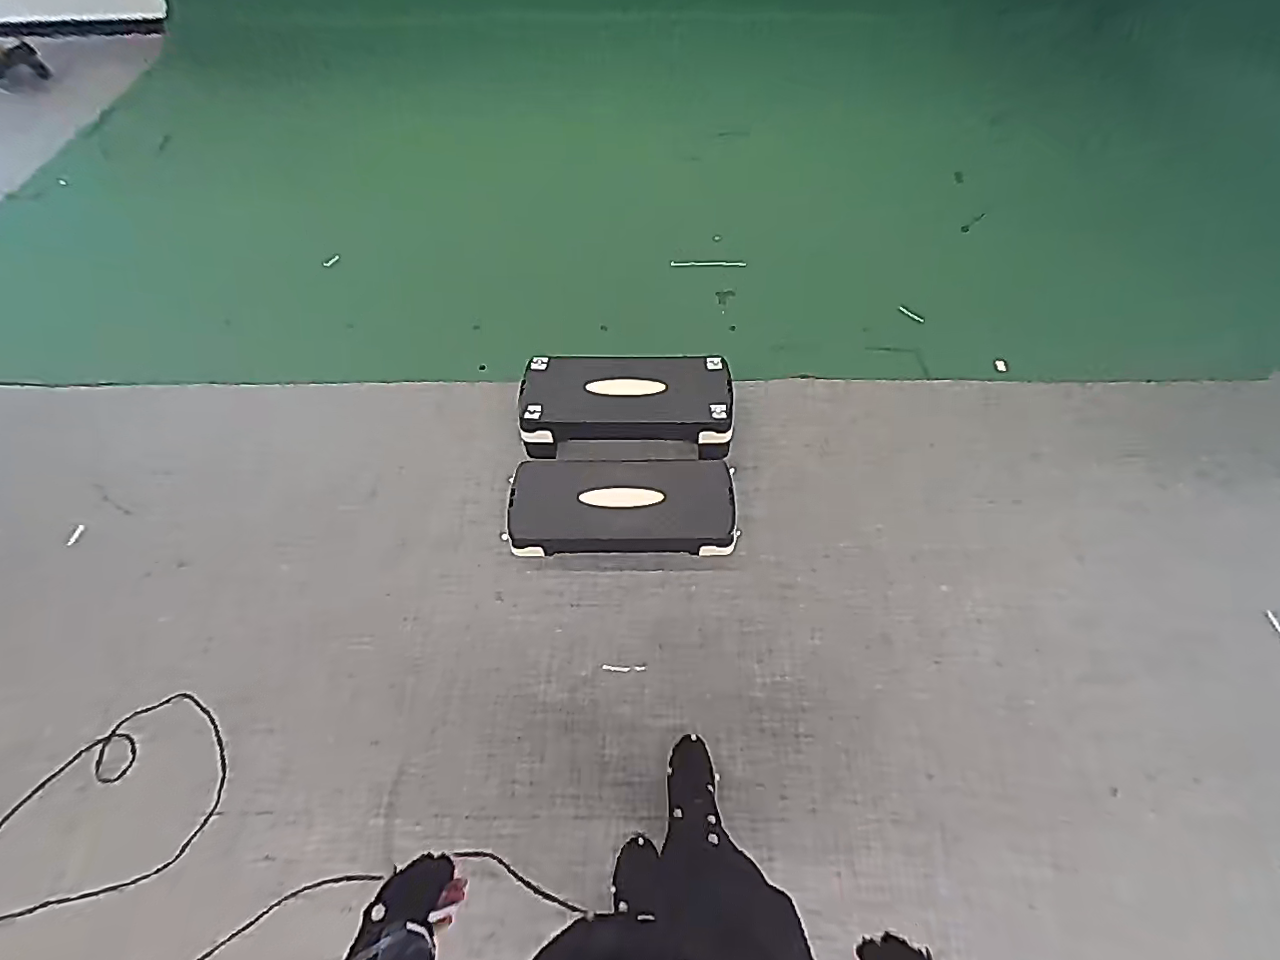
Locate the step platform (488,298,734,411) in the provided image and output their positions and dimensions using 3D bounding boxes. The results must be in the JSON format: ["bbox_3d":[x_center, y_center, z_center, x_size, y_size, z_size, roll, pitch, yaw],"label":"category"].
[{"bbox_3d":[-0.079,-0.365,1.591,0.684,0.204,0.286,0,59,1],"label":"step platform"}]
